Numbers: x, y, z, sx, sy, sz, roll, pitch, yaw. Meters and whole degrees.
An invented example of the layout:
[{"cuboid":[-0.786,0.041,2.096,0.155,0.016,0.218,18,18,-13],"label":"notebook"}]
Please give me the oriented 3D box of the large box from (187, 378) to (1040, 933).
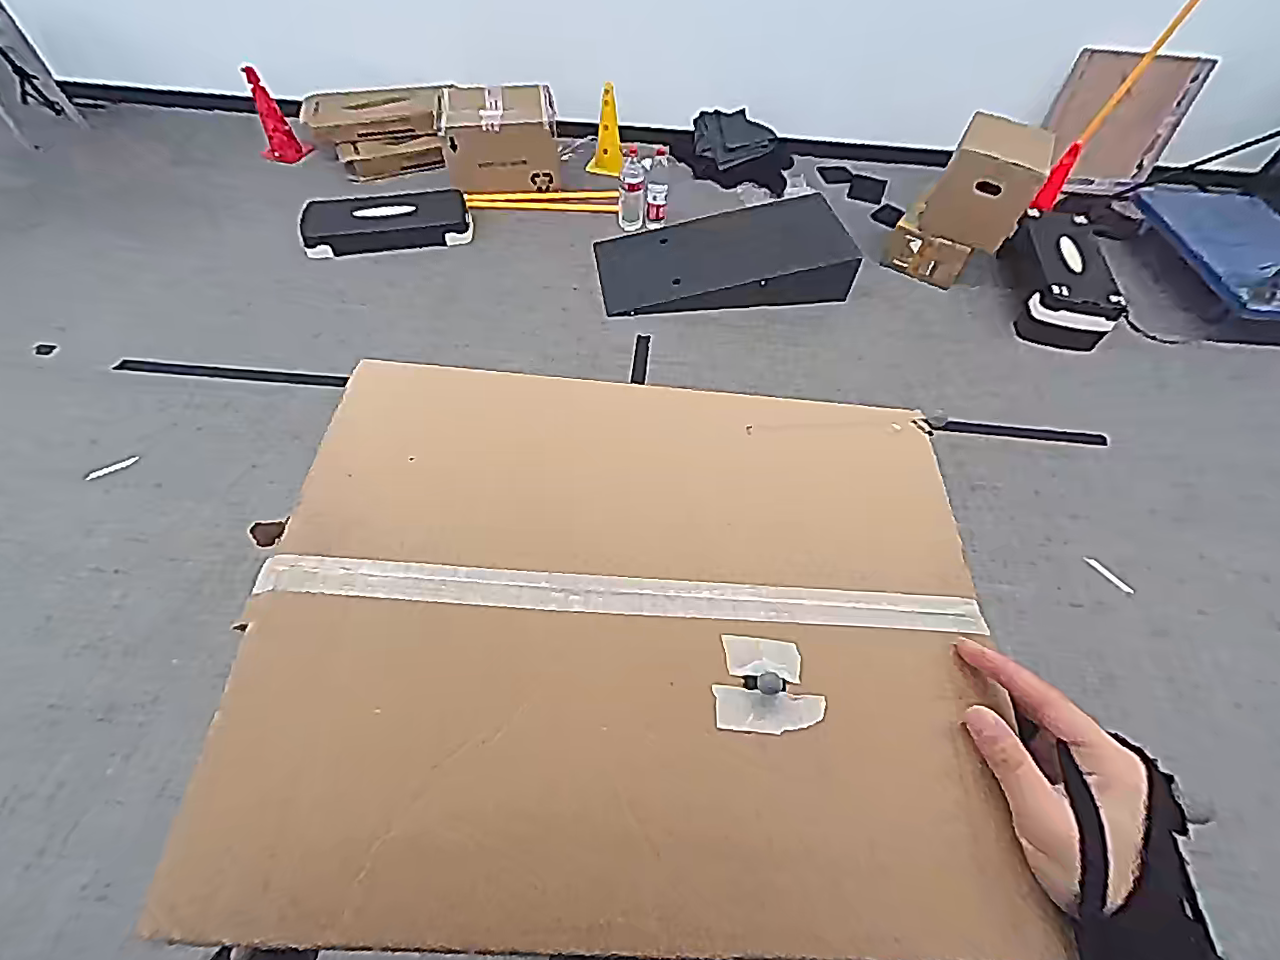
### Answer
[{"cuboid":[-0.014,0.147,0.450,0.408,0.320,0.320,5,60,-4],"label":"large box"}]
